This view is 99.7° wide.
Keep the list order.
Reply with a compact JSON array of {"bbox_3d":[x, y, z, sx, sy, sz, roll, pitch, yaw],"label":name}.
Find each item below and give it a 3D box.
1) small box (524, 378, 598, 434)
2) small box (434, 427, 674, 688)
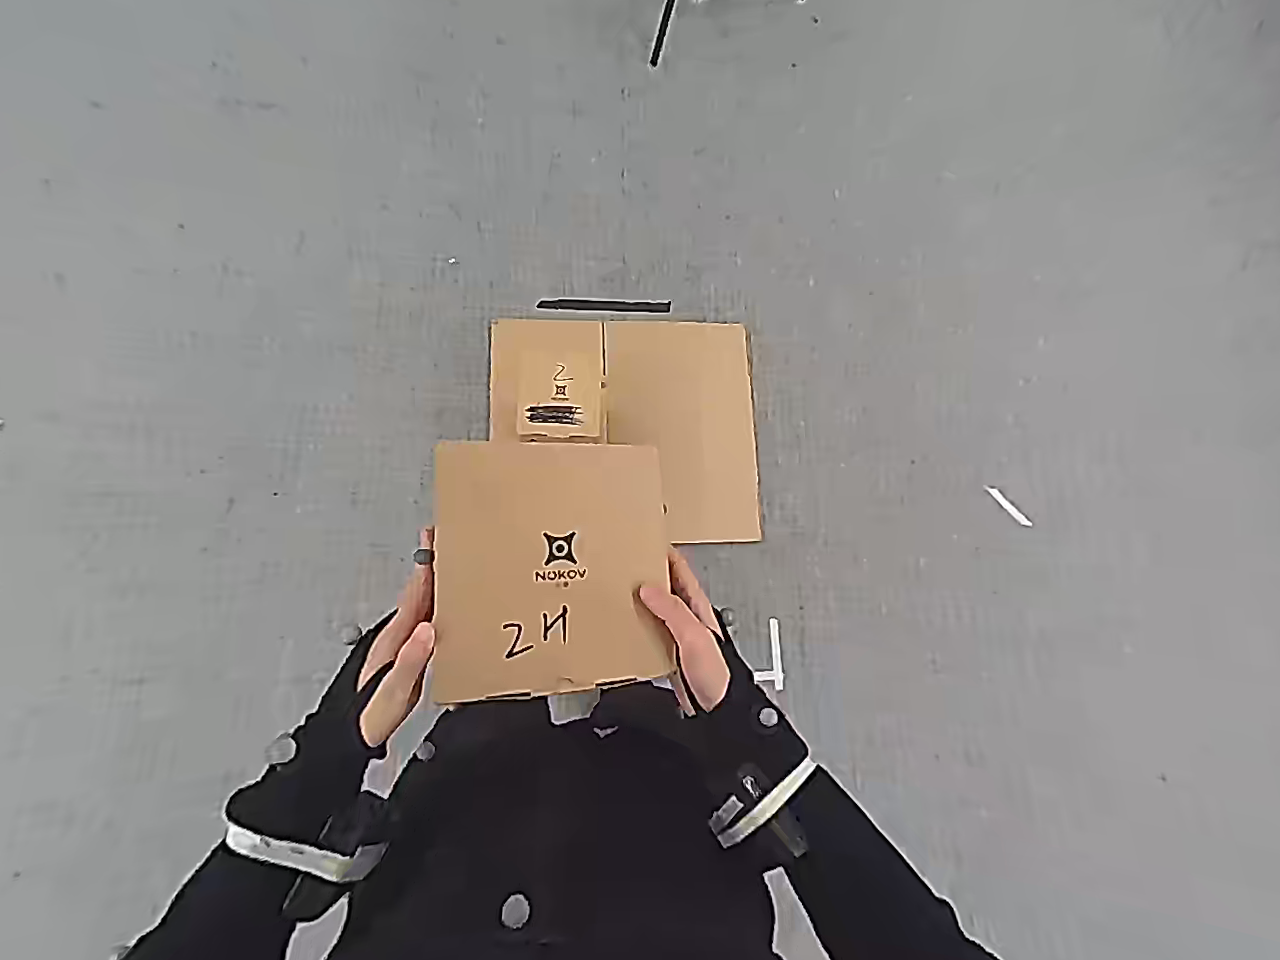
[{"bbox_3d":[-0.192,-0.132,1.323,0.168,0.176,0.179,3,79,-7],"label":"small box"},{"bbox_3d":[-0.082,0.067,0.455,0.168,0.176,0.179,1,77,-19],"label":"small box"}]
